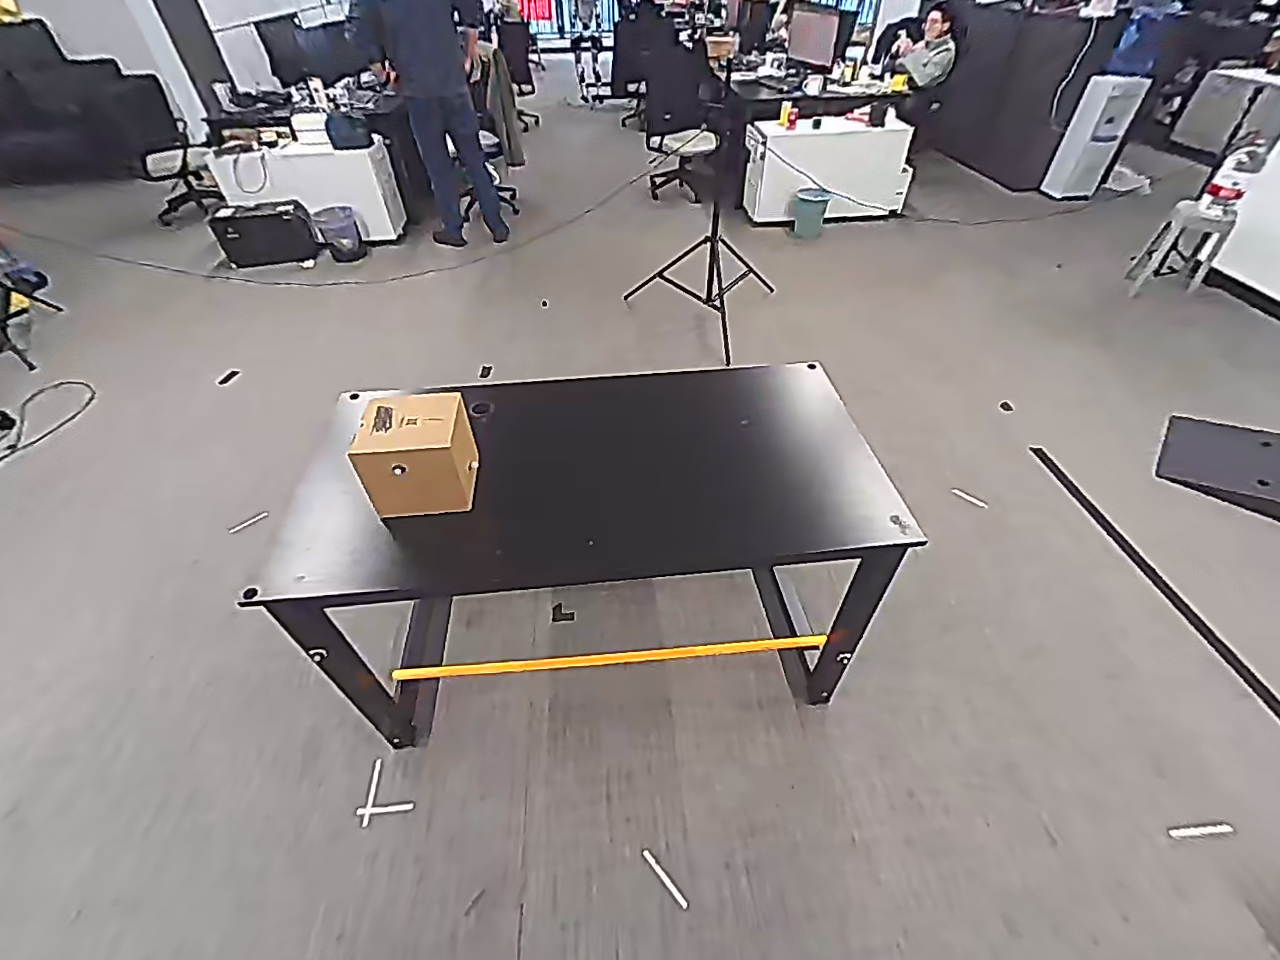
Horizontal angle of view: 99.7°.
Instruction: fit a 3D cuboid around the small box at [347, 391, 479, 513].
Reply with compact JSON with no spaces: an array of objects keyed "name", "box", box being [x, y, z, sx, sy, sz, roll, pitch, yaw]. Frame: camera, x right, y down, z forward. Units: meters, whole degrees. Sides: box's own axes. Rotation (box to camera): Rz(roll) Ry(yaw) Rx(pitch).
[{"name":"small box","box":[-0.424,-0.051,1.040,0.179,0.176,0.168,-5,45,-5]}]
